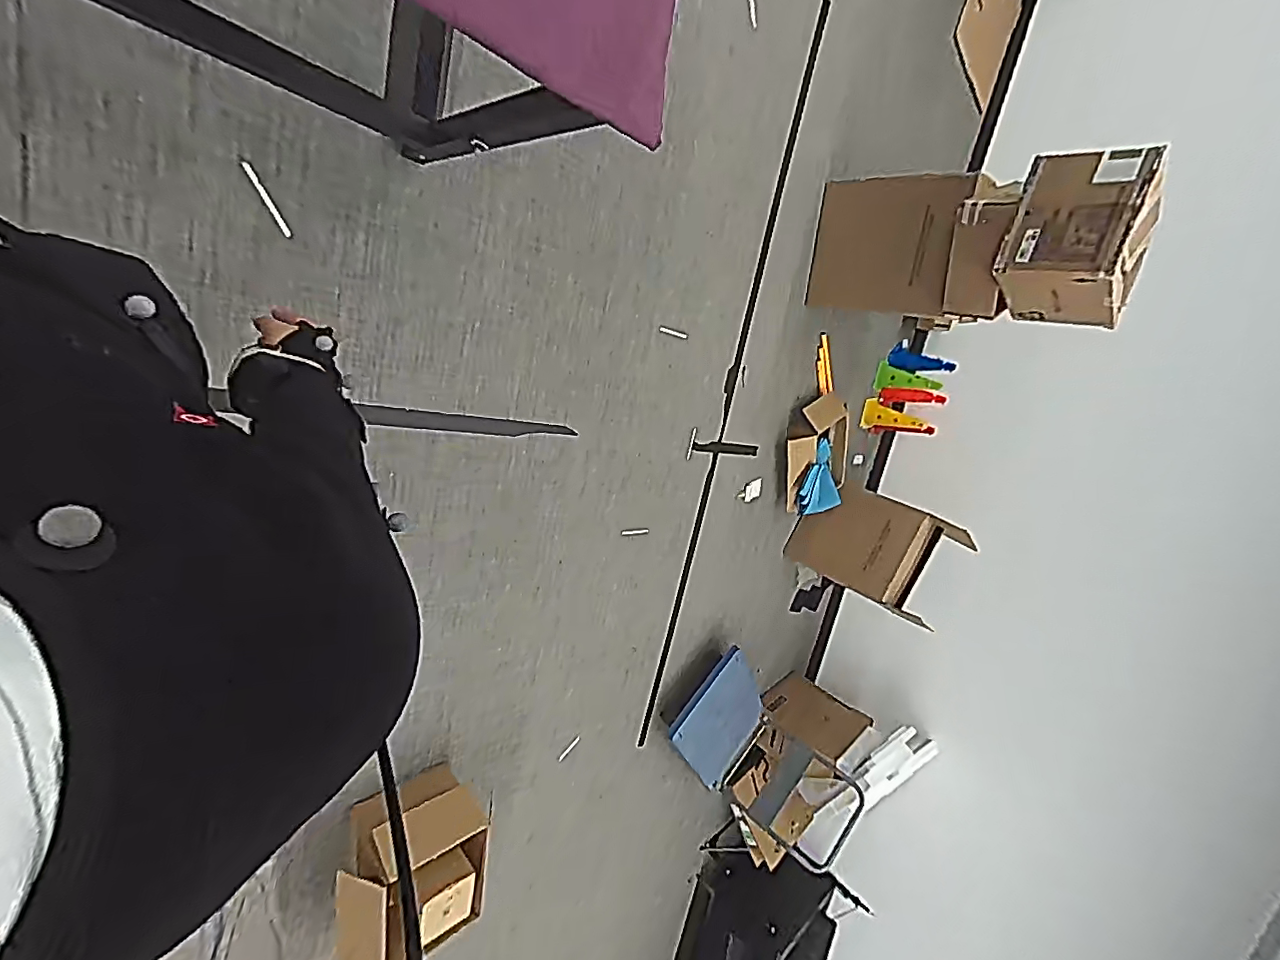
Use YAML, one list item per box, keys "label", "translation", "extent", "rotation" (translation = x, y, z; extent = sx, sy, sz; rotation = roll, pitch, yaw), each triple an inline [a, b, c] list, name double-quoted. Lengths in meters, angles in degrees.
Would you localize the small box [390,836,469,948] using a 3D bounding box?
- label: "small box"
  translation: [-0.645, 1.242, 1.644]
  extent: [0.168, 0.176, 0.179]
  rotation: [-3, 109, -47]
